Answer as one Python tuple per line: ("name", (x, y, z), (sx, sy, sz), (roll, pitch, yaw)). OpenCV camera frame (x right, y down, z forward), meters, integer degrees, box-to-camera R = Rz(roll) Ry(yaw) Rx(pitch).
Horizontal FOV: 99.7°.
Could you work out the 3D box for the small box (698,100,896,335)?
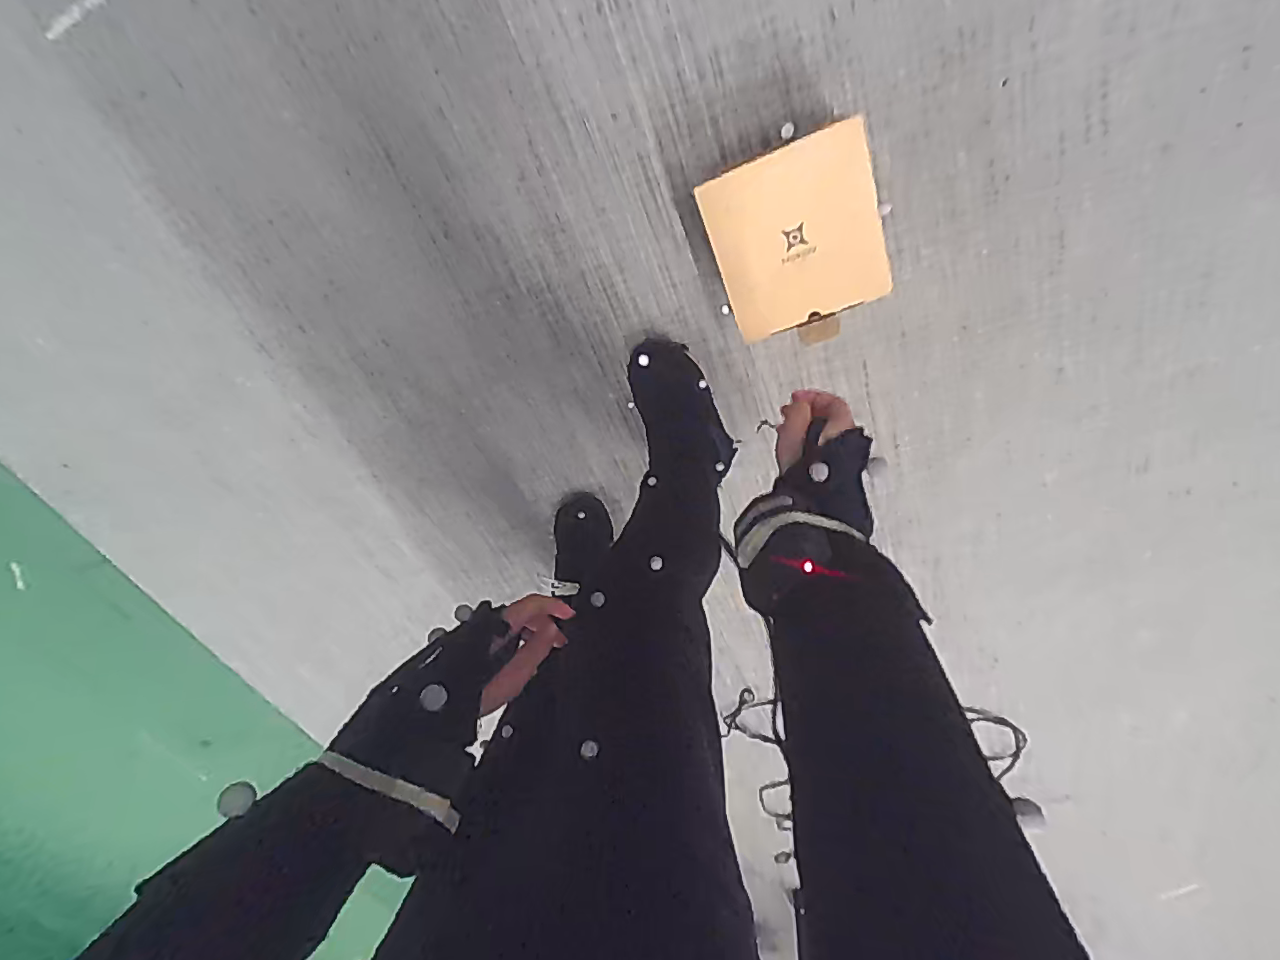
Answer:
("small box", (0.171, -0.296, 0.615), (0.168, 0.176, 0.179), (-16, 120, 19))
